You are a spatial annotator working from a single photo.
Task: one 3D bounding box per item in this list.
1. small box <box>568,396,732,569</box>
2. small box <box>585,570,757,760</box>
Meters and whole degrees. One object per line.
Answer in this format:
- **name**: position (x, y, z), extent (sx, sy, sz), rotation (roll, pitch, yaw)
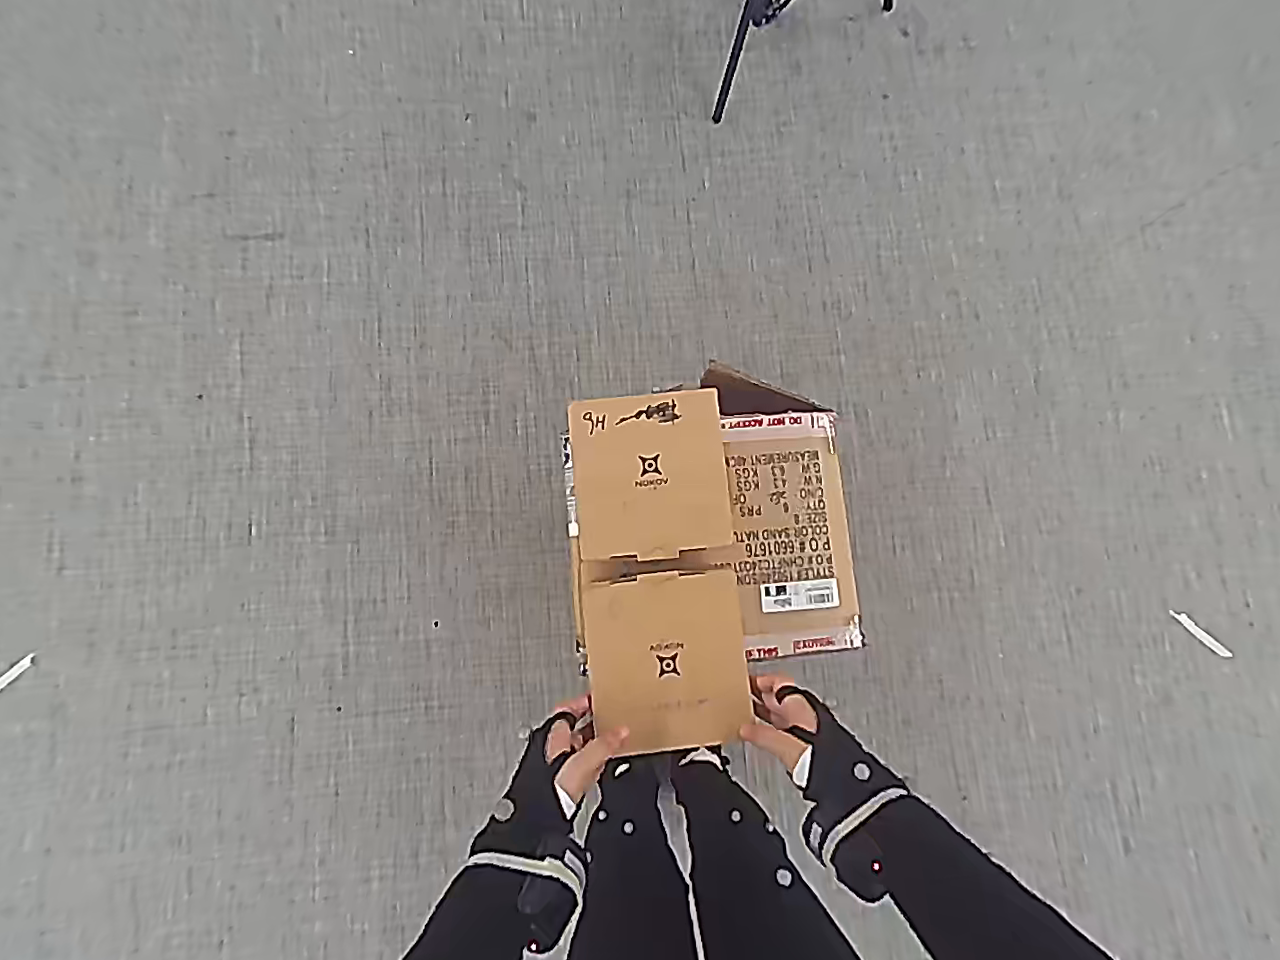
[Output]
- **small box**: position (0.010, 0.006, 0.658), extent (0.168, 0.176, 0.179), rotation (-6, 86, -2)
- **small box**: position (0.028, 0.200, 0.636), extent (0.168, 0.176, 0.179), rotation (-6, 83, -1)
